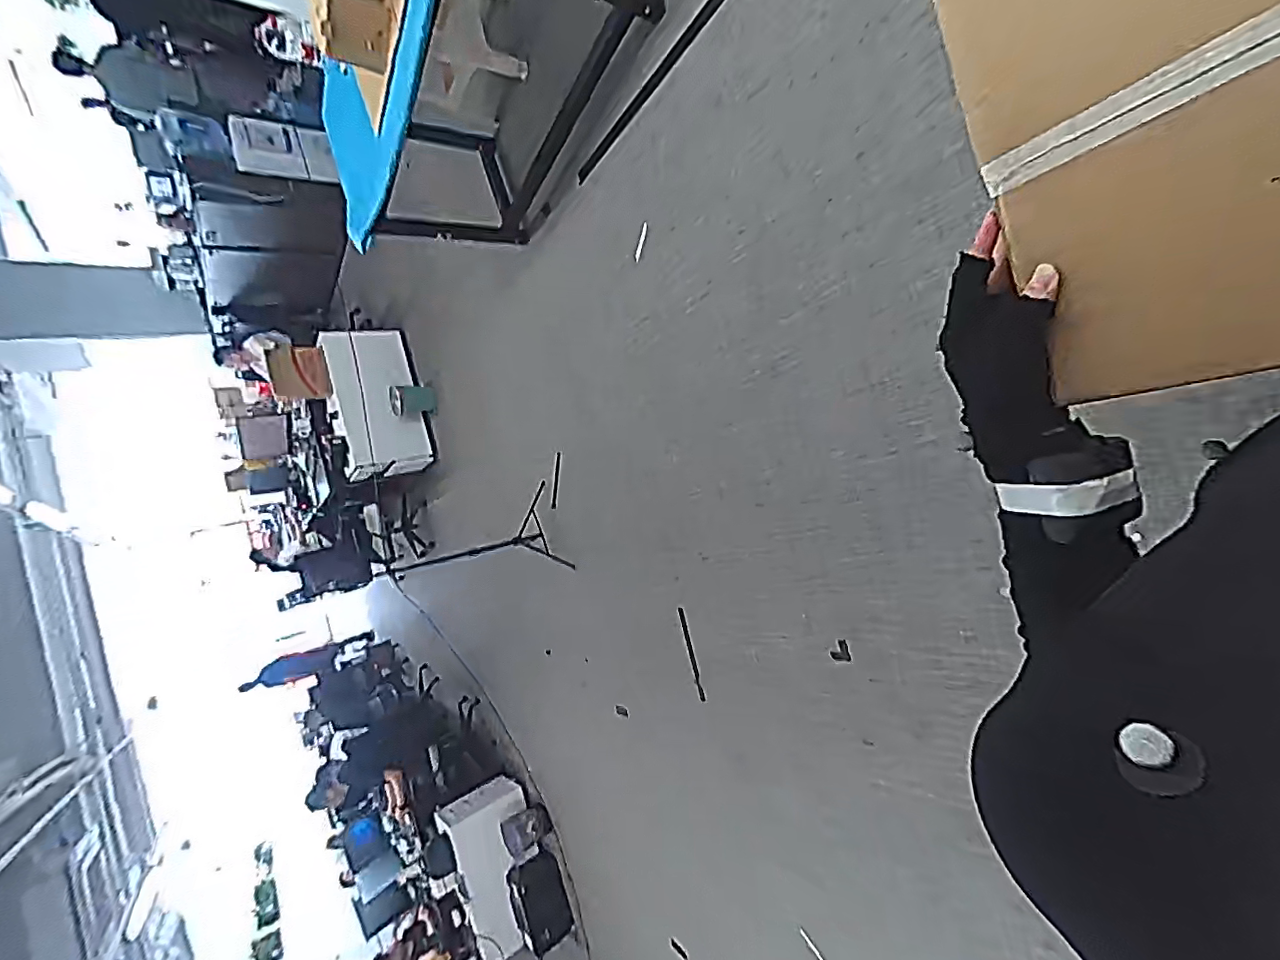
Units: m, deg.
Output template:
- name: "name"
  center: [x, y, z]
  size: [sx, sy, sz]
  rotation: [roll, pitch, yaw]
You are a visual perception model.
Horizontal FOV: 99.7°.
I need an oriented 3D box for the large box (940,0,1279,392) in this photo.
- name: "large box"
  center: [0.457, -0.278, 0.284]
  size: [0.408, 0.320, 0.320]
  rotation: [-12, 103, 55]
